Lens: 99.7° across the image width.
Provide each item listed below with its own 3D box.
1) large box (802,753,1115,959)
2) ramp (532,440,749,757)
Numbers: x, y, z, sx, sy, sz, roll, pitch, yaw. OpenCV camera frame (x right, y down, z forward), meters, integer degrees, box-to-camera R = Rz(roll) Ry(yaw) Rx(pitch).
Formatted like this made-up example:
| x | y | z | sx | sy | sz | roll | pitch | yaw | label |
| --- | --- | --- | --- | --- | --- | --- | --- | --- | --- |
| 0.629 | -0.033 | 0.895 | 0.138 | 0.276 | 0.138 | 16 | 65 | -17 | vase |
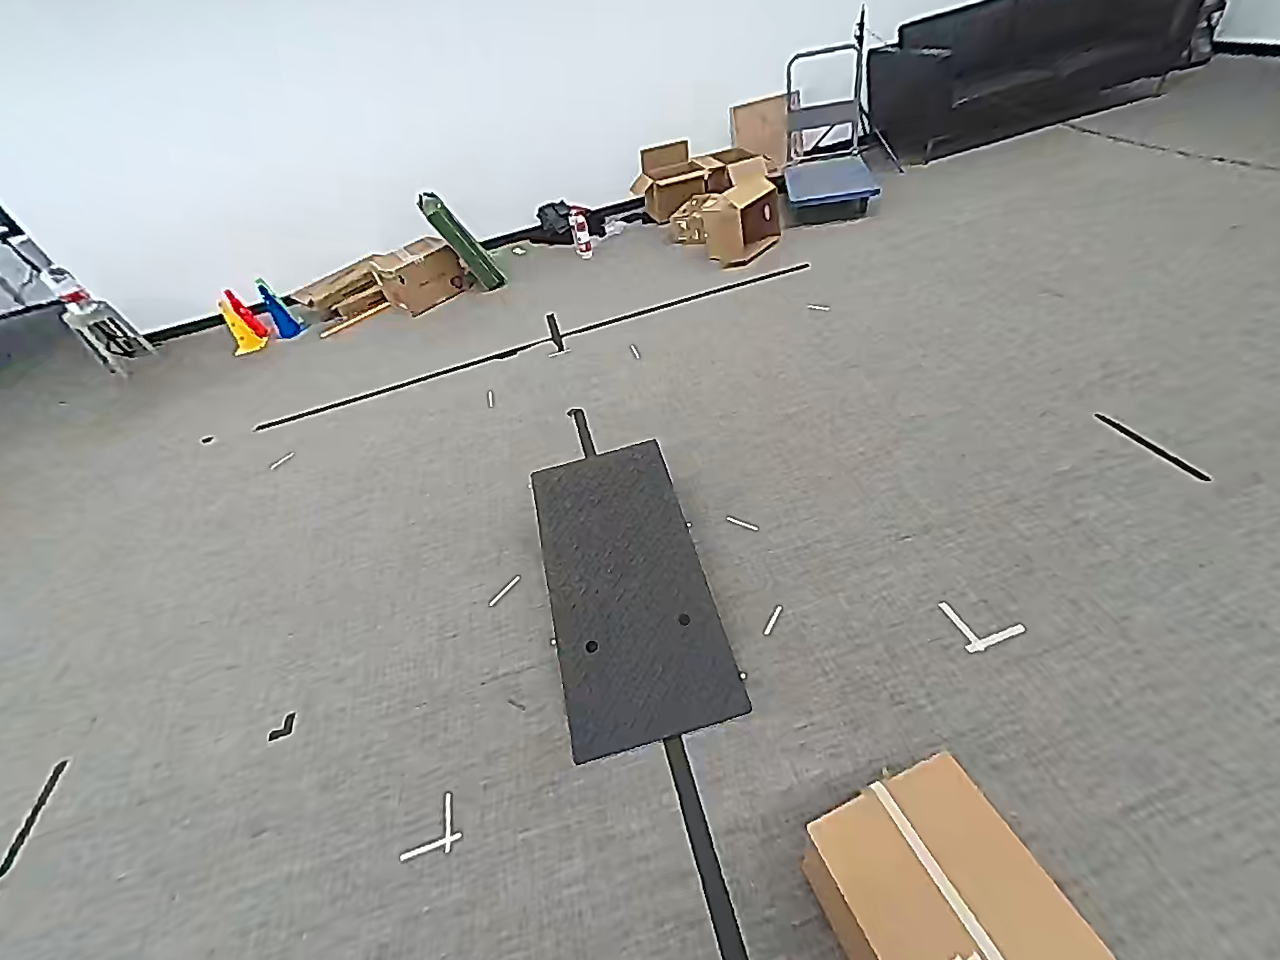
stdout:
| x | y | z | sx | sy | sz | roll | pitch | yaw | label |
| --- | --- | --- | --- | --- | --- | --- | --- | --- | --- |
| 0.538 | 0.794 | 0.966 | 0.320 | 0.320 | 0.408 | -22 | 44 | -9 | large box |
| -0.051 | 0.294 | 1.736 | 0.509 | 0.206 | 0.991 | -16 | 43 | -4 | ramp |
